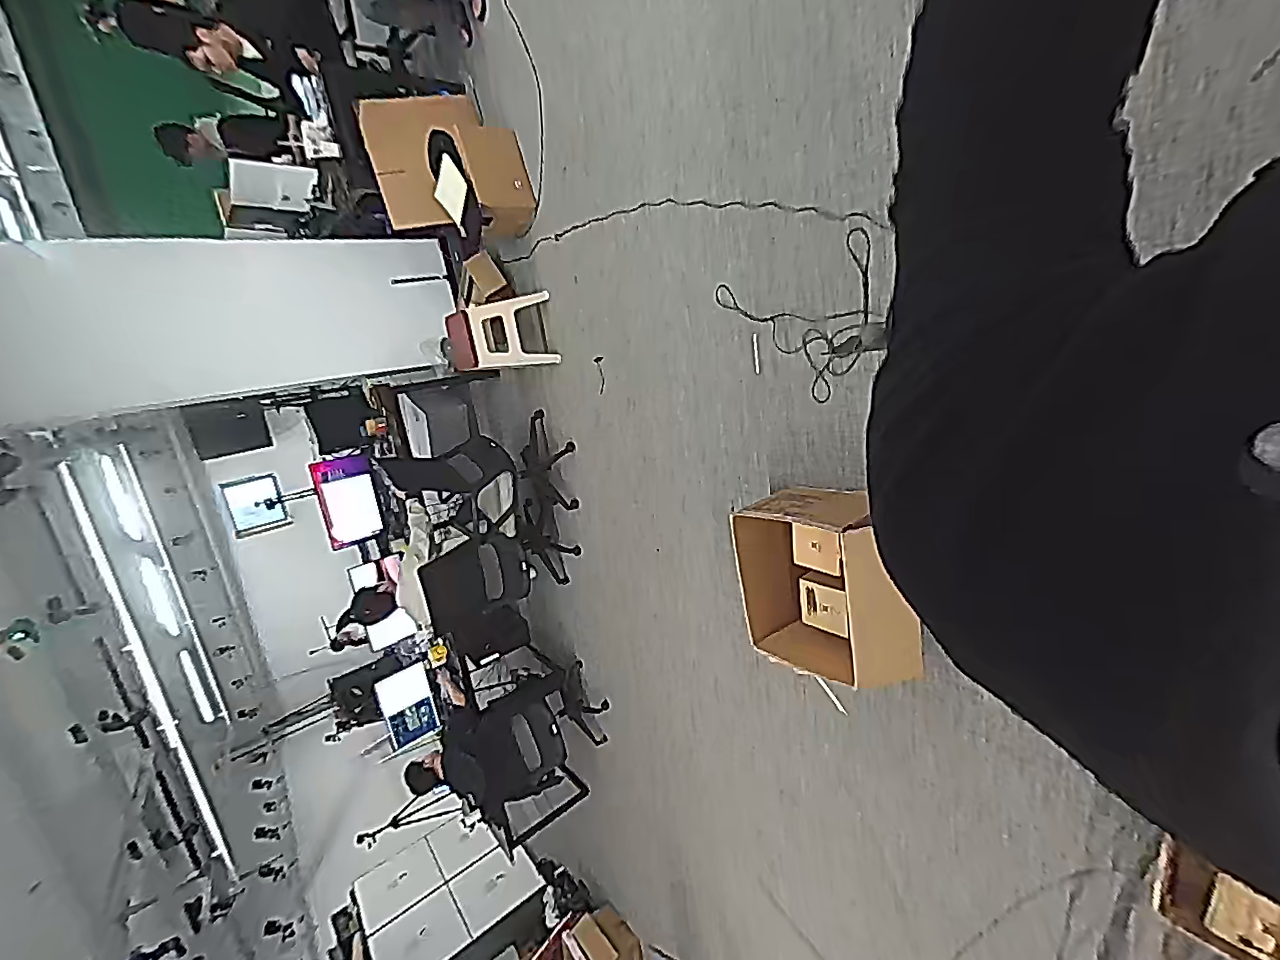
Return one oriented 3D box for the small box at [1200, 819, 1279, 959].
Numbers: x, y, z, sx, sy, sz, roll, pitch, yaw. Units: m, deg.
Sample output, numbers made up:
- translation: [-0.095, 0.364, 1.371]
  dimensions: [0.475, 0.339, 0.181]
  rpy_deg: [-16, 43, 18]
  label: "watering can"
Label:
- translation: [1.278, 0.841, 1.093]
  dimensions: [0.168, 0.176, 0.179]
  rpy_deg: [15, 115, 50]
  label: "small box"
